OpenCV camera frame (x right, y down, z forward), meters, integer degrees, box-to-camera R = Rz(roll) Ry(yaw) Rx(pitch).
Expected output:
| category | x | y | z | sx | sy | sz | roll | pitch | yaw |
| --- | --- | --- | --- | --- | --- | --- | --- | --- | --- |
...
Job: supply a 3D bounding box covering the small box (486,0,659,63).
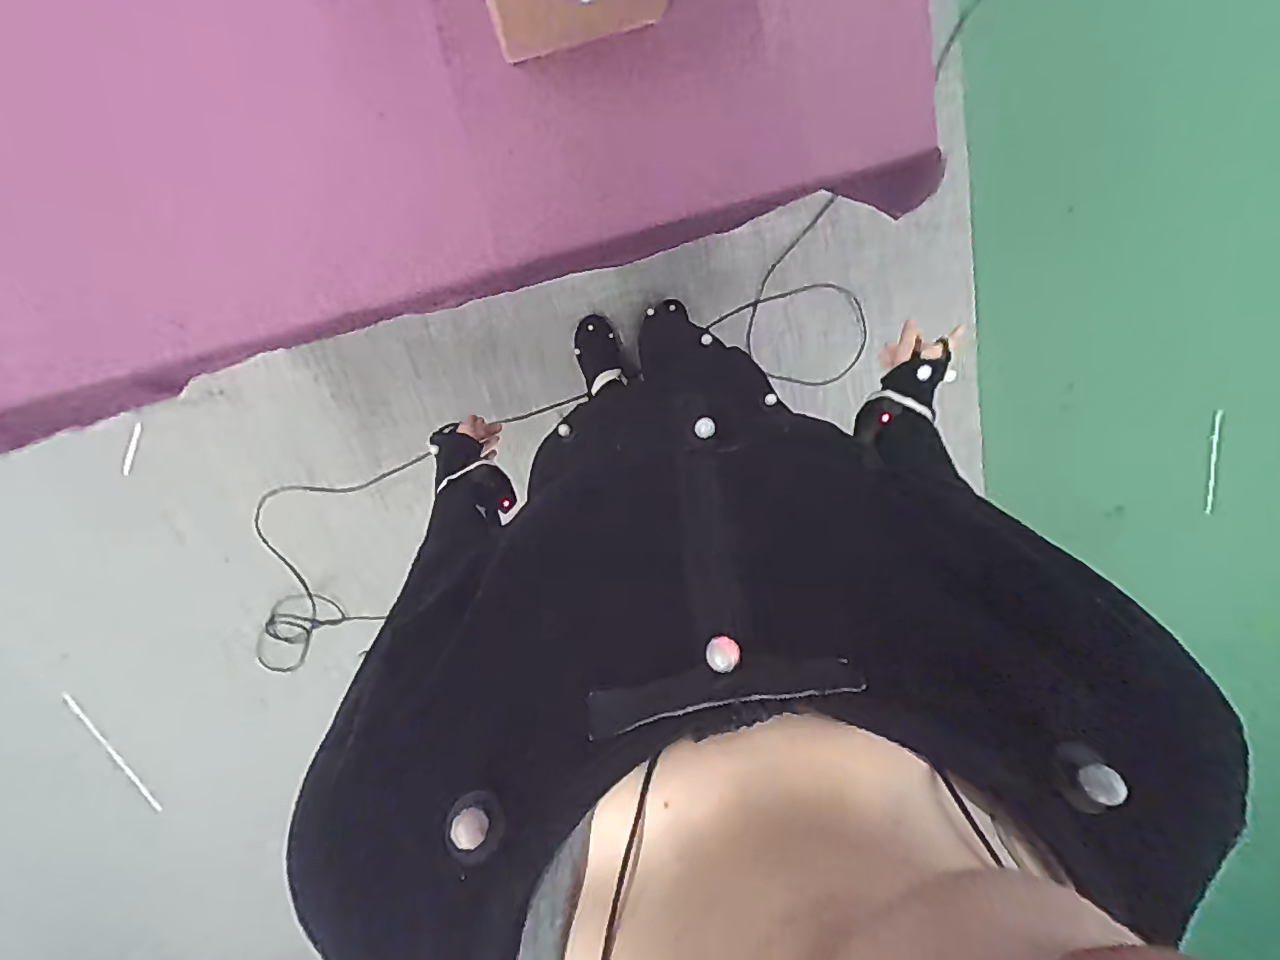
| category | x | y | z | sx | sy | sz | roll | pitch | yaw |
| --- | --- | --- | --- | --- | --- | --- | --- | --- | --- |
| small box | -0.074 | -0.521 | 0.490 | 0.179 | 0.176 | 0.168 | -17 | 110 | -2 |
